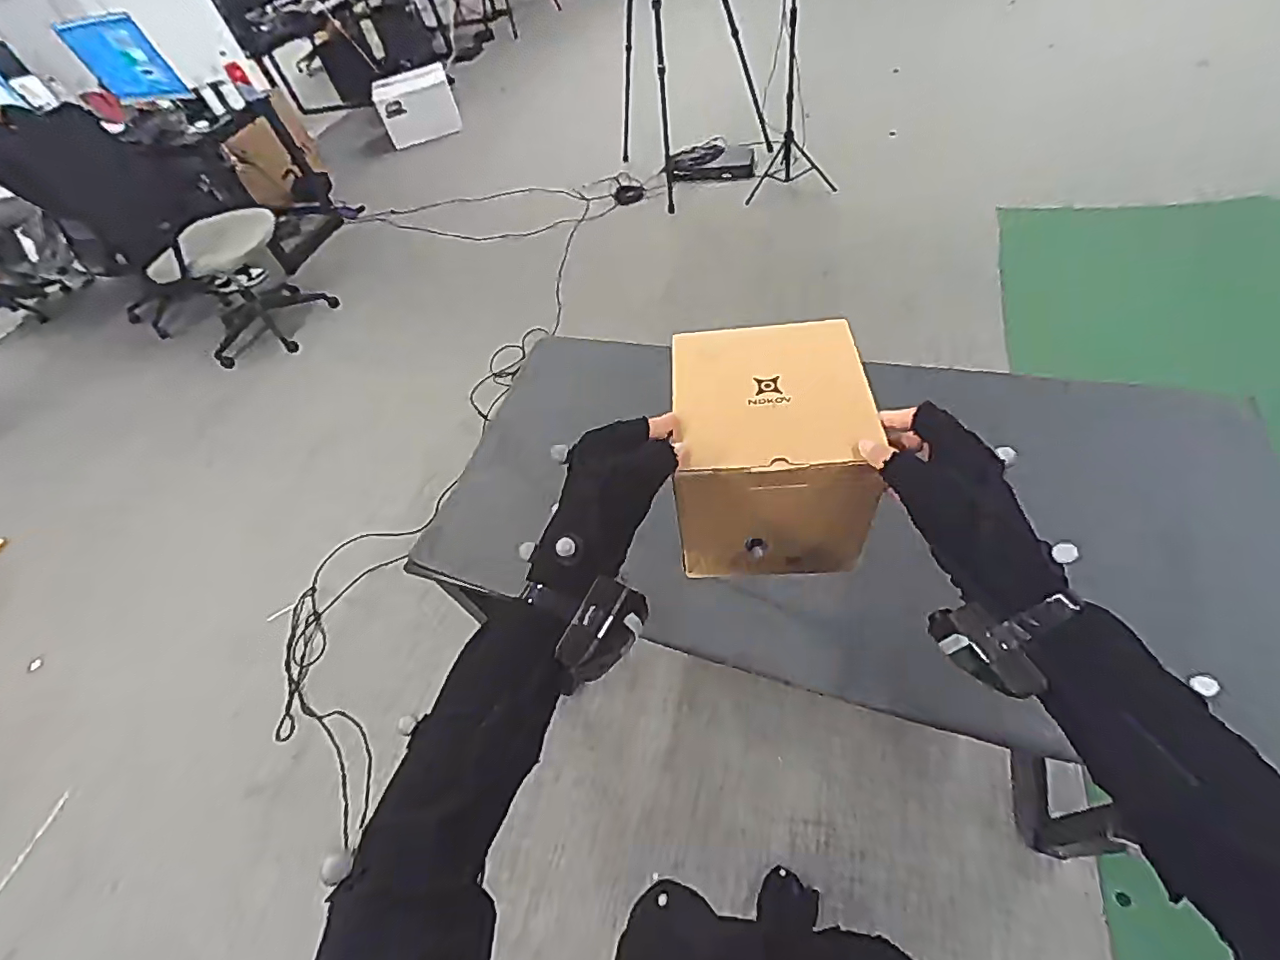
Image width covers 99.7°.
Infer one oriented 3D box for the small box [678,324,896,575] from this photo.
[{"bbox_3d":[0.123,-0.025,0.525,0.168,0.176,0.179,-3,52,7],"label":"small box"}]
